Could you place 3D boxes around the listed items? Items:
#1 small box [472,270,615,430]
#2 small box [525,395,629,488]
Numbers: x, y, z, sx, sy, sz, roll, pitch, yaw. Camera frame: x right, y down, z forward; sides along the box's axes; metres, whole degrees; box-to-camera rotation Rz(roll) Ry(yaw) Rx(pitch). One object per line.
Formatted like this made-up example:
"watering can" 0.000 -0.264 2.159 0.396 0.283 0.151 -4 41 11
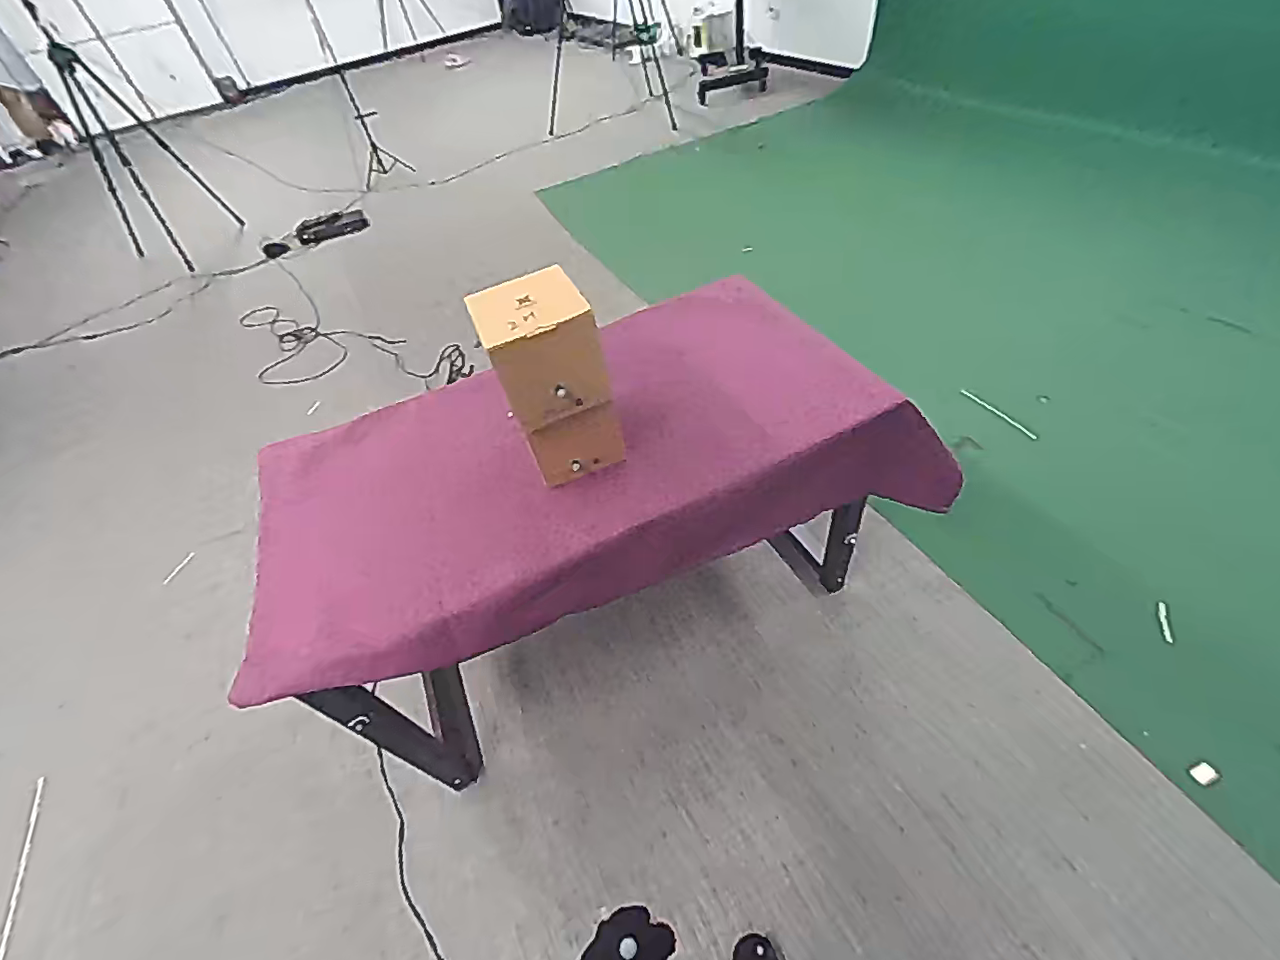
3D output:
"small box" -0.156 -0.213 0.893 0.168 0.176 0.179 -23 49 -9
"small box" -0.134 -0.117 1.025 0.168 0.176 0.179 -22 49 -8
